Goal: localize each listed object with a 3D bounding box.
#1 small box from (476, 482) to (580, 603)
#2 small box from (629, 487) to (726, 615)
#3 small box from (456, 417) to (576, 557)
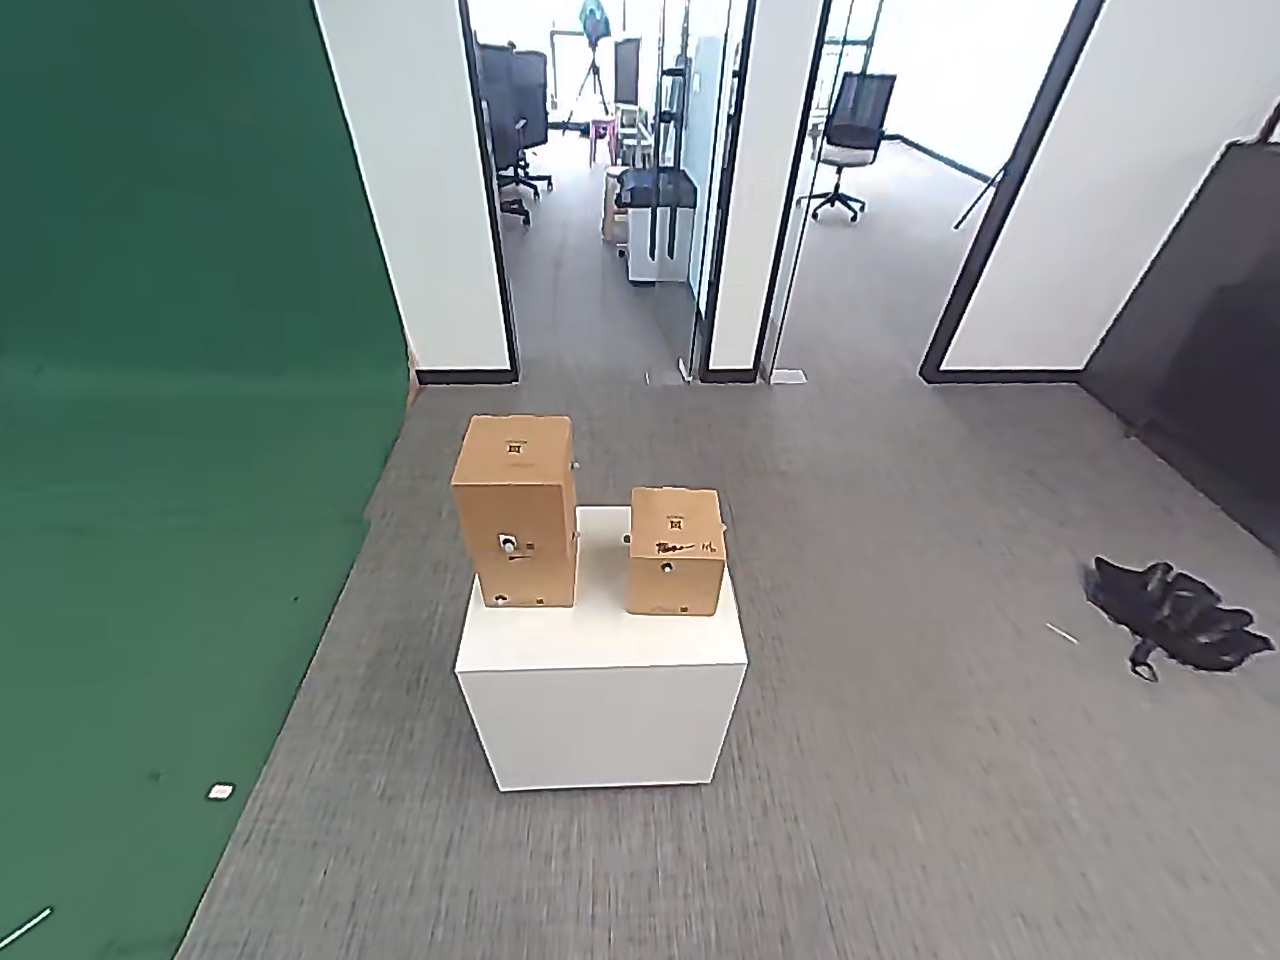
[{"bbox_3d":[-0.203,0.120,1.035,0.168,0.176,0.179,1,41,-3],"label":"small box"},{"bbox_3d":[0.065,0.134,1.031,0.168,0.176,0.179,1,41,0],"label":"small box"},{"bbox_3d":[-0.197,0.010,0.916,0.168,0.176,0.179,-1,43,-3],"label":"small box"}]
